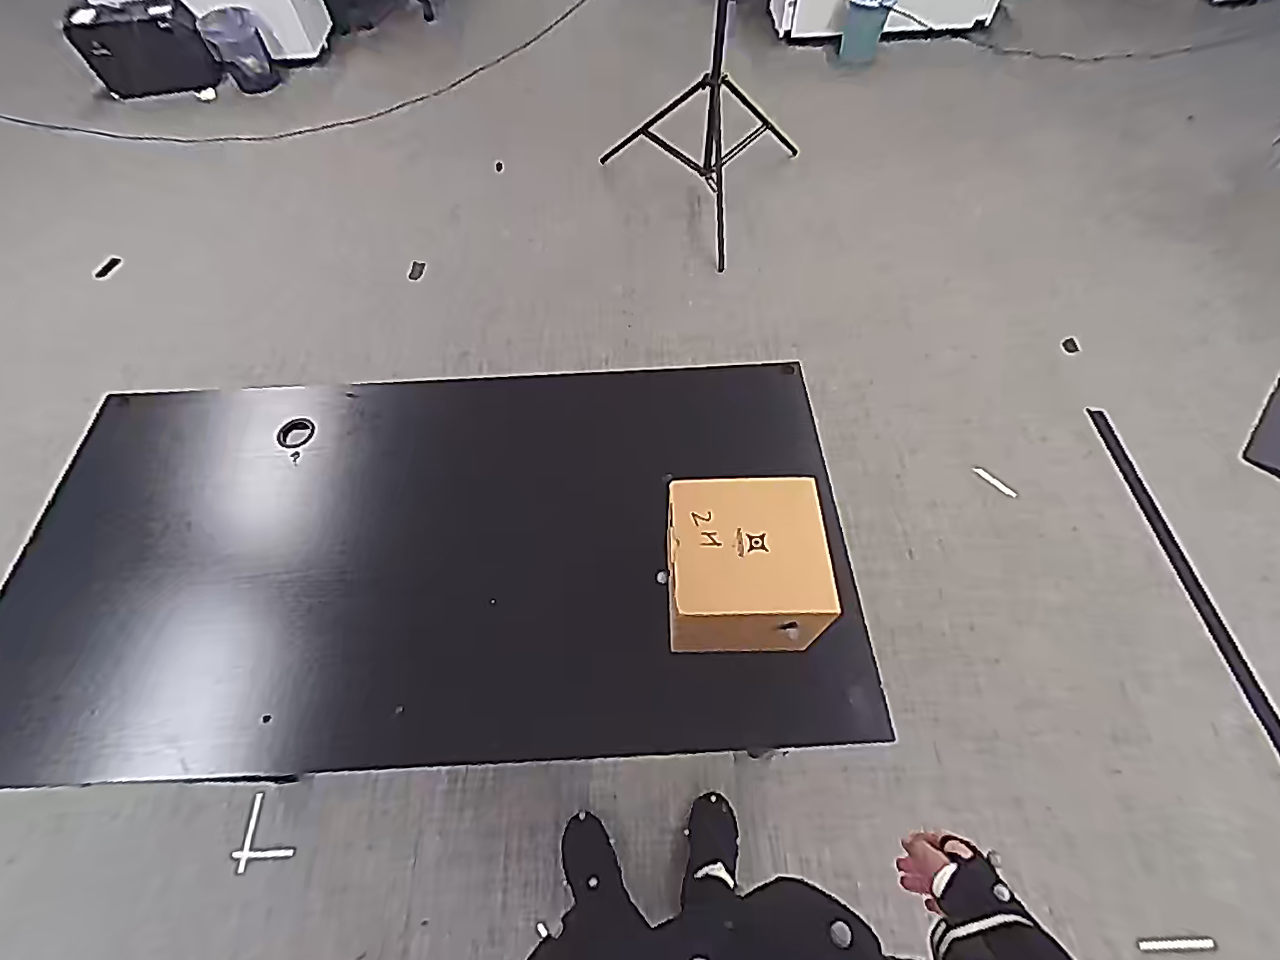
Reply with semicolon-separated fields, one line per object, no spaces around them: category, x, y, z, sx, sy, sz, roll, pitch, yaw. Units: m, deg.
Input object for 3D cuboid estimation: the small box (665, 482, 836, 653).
small box;0.122;0.114;0.676;0.179;0.176;0.168;-2;59;1
